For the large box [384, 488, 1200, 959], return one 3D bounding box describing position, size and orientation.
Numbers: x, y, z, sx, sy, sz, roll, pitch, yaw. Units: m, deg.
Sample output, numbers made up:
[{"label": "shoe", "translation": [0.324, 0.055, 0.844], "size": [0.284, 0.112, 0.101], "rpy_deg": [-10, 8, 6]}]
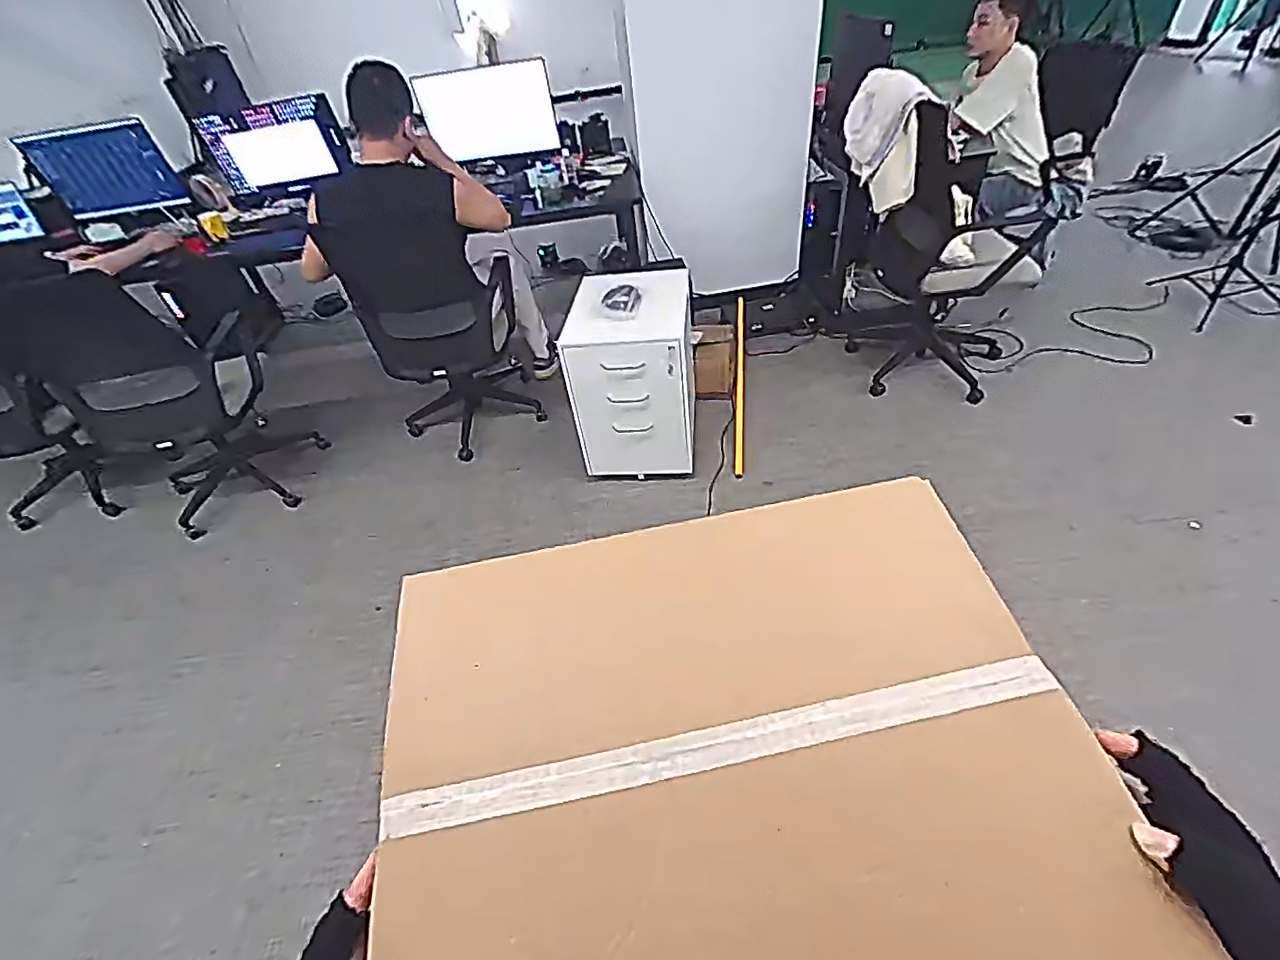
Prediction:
[{"label": "large box", "translation": [0.063, 0.252, 0.448], "size": [0.408, 0.320, 0.320], "rpy_deg": [-12, 53, -2]}]
